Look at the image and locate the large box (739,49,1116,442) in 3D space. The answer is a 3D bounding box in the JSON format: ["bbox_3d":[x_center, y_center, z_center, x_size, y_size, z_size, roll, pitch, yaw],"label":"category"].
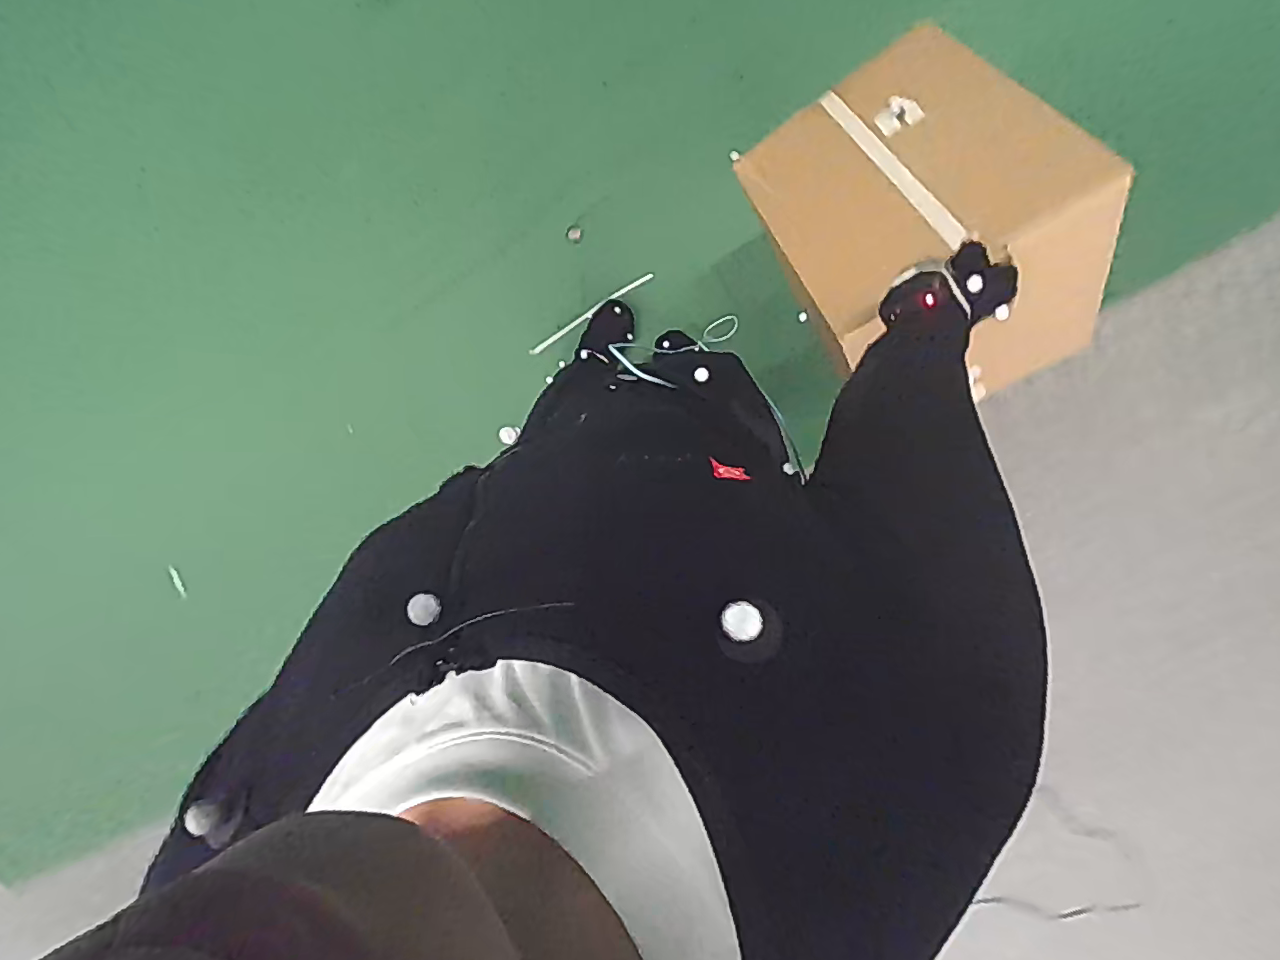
[{"bbox_3d":[0.408,-0.338,0.833,0.320,0.408,0.320,-28,145,19],"label":"large box"}]
